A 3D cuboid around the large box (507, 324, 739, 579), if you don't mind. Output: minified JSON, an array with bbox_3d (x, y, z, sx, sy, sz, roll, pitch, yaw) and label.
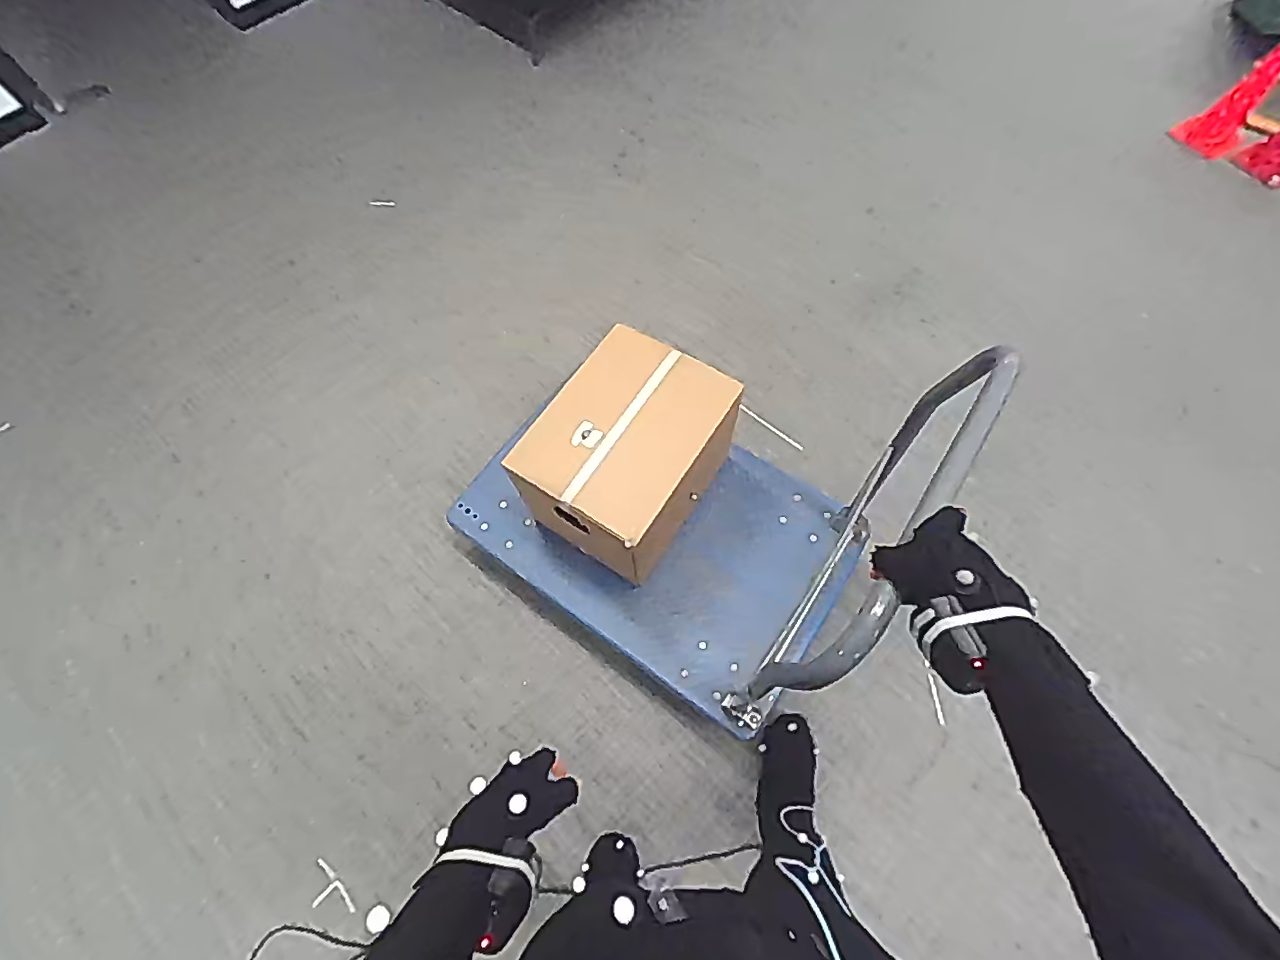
[{"bbox_3d":[-0.022,-0.053,1.204,0.320,0.320,0.408,30,71,16],"label":"large box"}]
